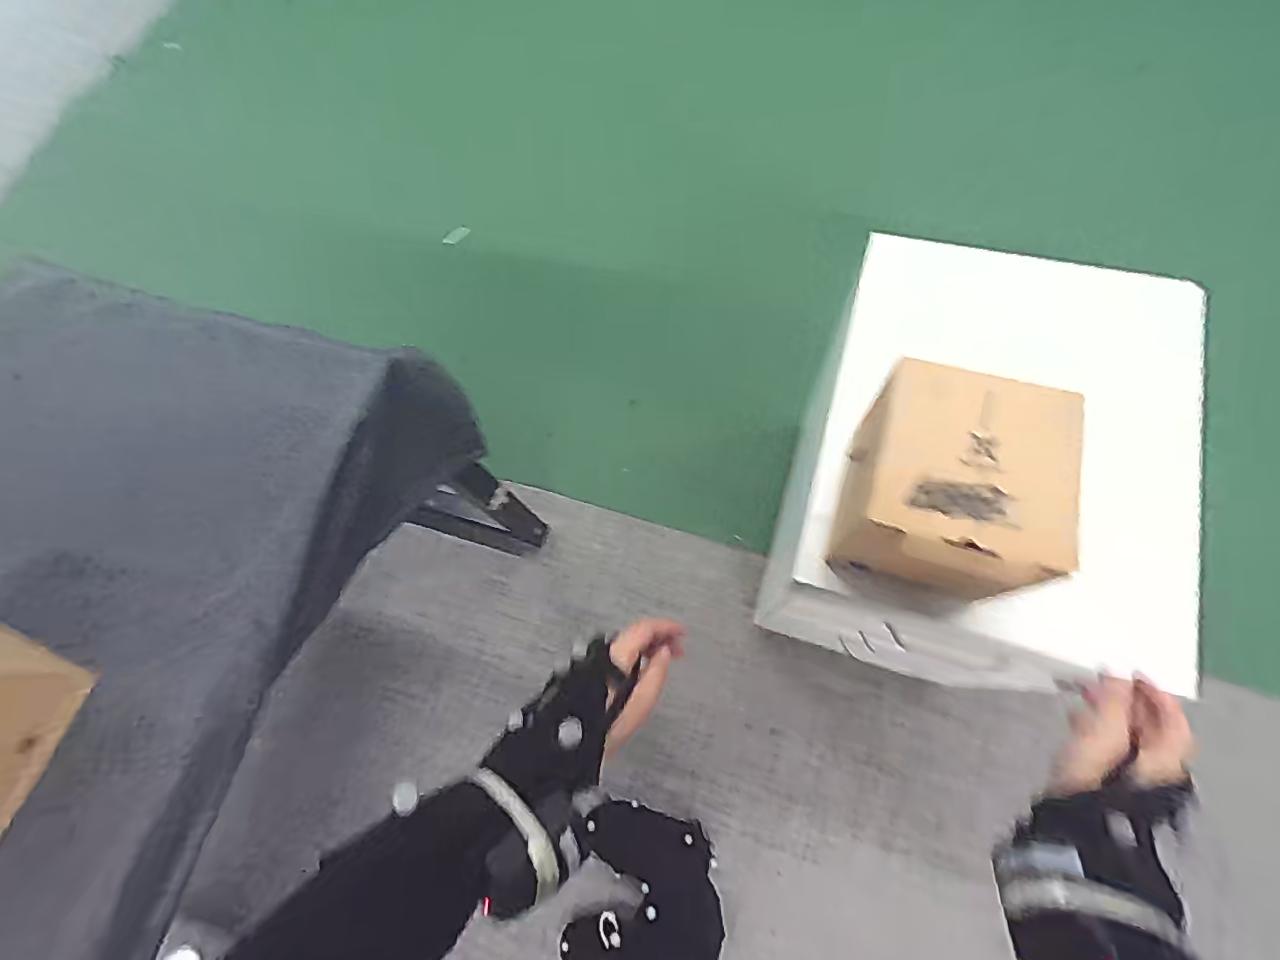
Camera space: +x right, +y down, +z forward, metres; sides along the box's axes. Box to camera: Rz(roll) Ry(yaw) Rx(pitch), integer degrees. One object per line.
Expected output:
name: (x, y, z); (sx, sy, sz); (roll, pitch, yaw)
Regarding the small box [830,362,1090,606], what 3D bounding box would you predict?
small box: (0.304, 0.015, 0.547); (0.168, 0.176, 0.179); (16, 71, 11)
